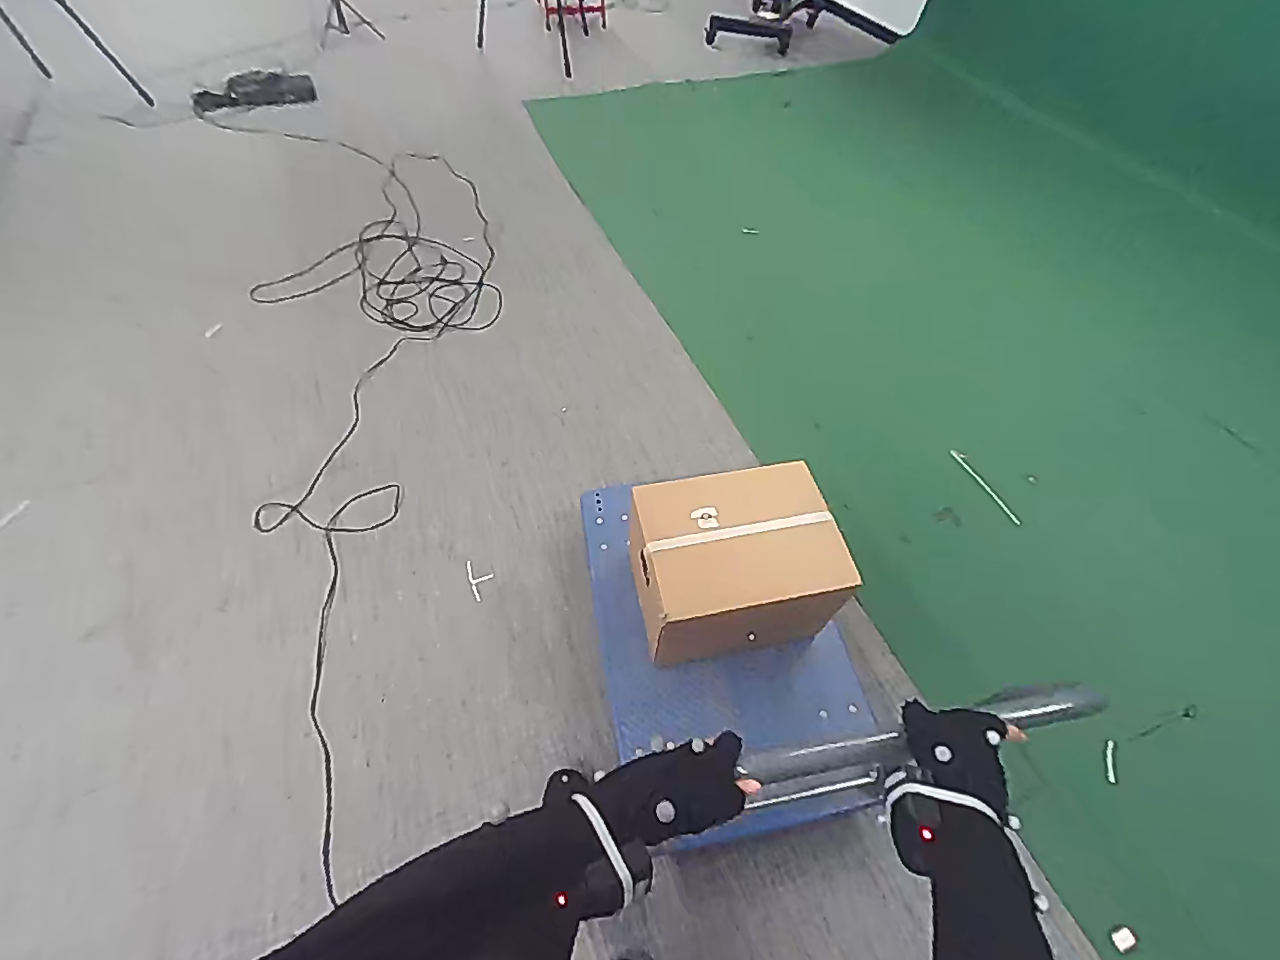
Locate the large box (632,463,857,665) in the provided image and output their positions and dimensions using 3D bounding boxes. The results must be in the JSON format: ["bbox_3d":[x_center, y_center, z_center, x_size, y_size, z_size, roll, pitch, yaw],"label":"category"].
[{"bbox_3d":[0.208,0.200,1.252,0.408,0.320,0.320,-10,56,-8],"label":"large box"}]
